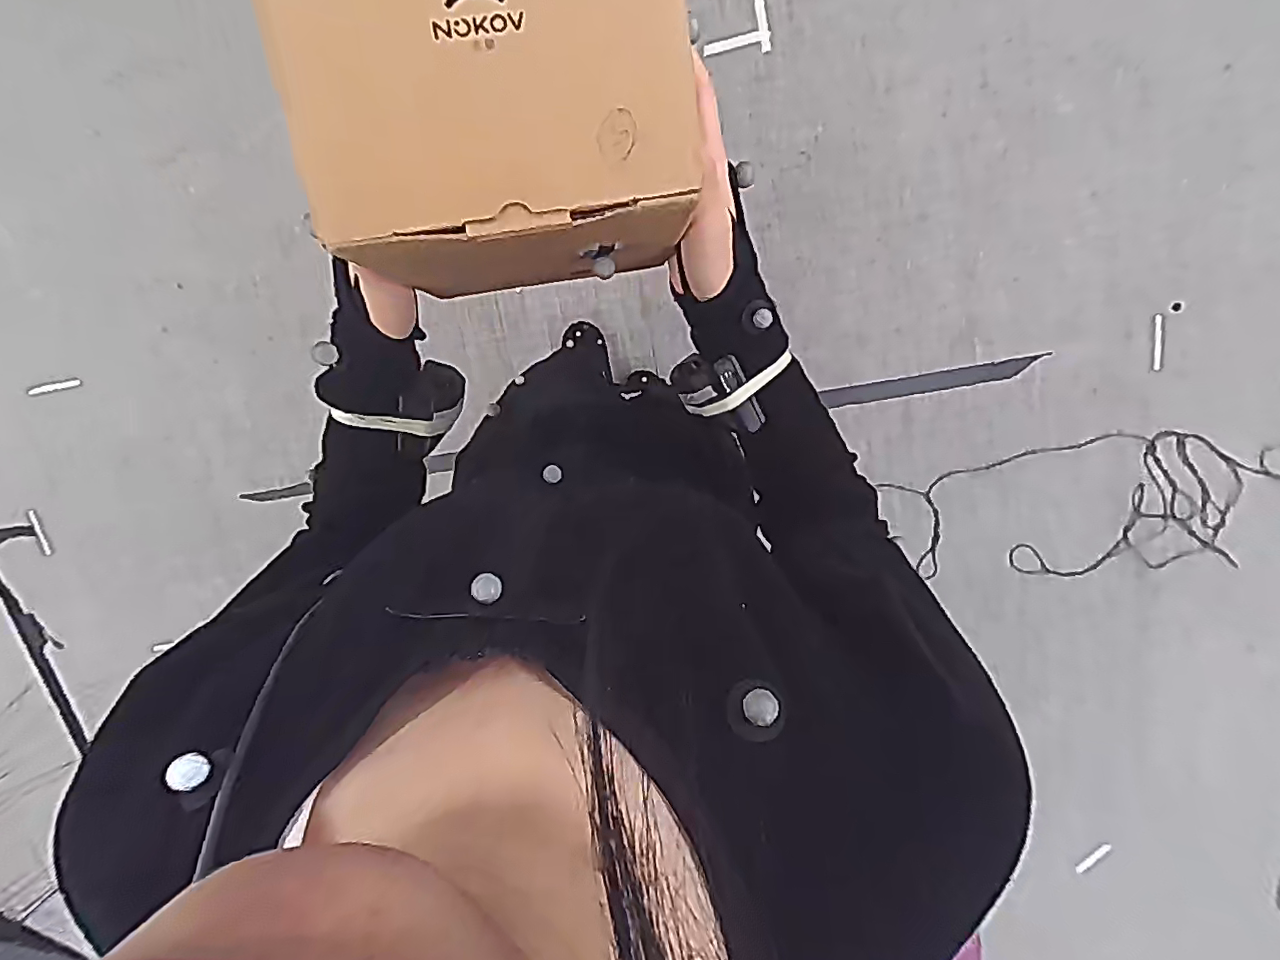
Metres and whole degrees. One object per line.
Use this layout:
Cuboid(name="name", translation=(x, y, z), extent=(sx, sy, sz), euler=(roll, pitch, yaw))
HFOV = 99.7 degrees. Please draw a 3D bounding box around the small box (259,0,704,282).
Cuboid(name="small box", translation=(-0.069, -0.211, 0.286), extent=(0.168, 0.176, 0.179), euler=(-10, 102, -3))
